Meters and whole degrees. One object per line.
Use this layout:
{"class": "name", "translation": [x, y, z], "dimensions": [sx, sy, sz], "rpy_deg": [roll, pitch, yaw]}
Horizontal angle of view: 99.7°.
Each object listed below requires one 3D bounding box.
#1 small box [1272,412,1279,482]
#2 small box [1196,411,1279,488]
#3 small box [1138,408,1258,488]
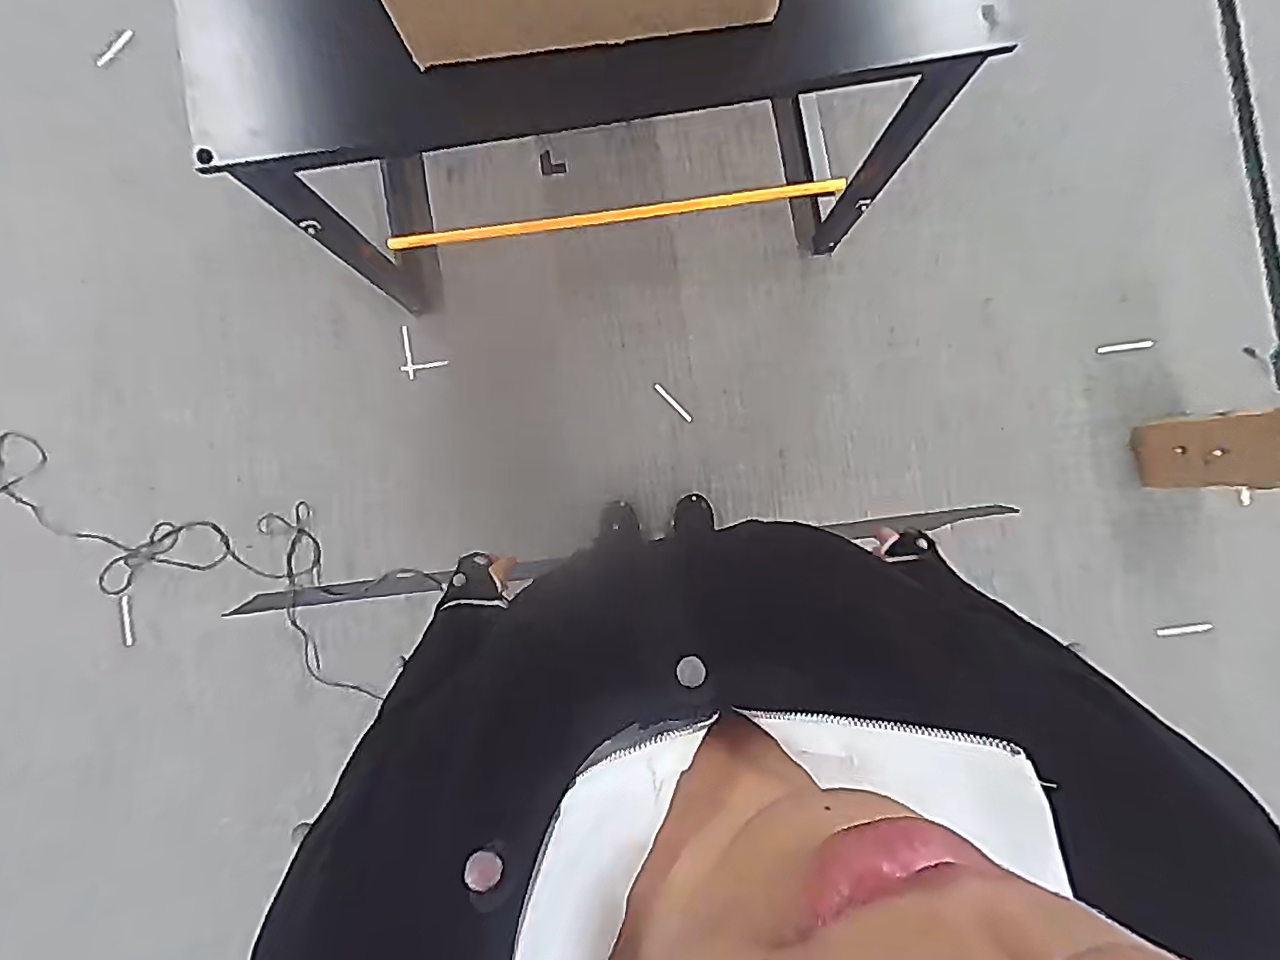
{"class": "small box", "translation": [1.457, -0.076, 1.088], "dimensions": [0.179, 0.176, 0.168], "rpy_deg": [-3, 89, 1]}
{"class": "small box", "translation": [1.464, -0.074, 1.251], "dimensions": [0.179, 0.176, 0.168], "rpy_deg": [-8, 89, 0]}
{"class": "small box", "translation": [1.463, -0.077, 1.415], "dimensions": [0.168, 0.176, 0.179], "rpy_deg": [-12, 90, 0]}
